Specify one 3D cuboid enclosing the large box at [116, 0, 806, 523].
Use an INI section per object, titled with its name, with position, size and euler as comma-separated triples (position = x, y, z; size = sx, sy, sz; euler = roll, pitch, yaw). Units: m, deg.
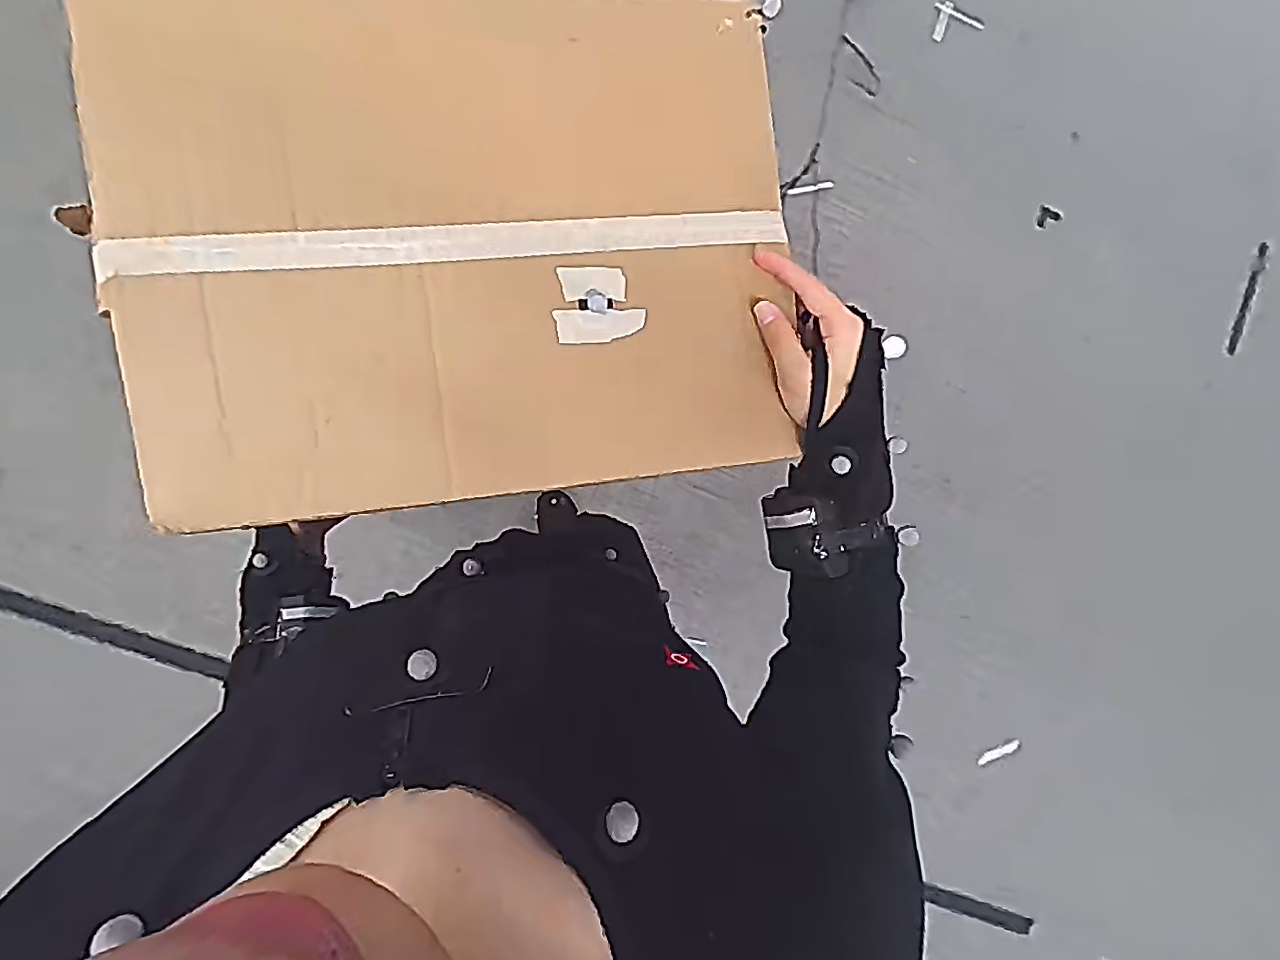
[large box]
position = -0.119, -0.152, 0.494
size = 0.408, 0.320, 0.320
euler = -7, 93, -11
